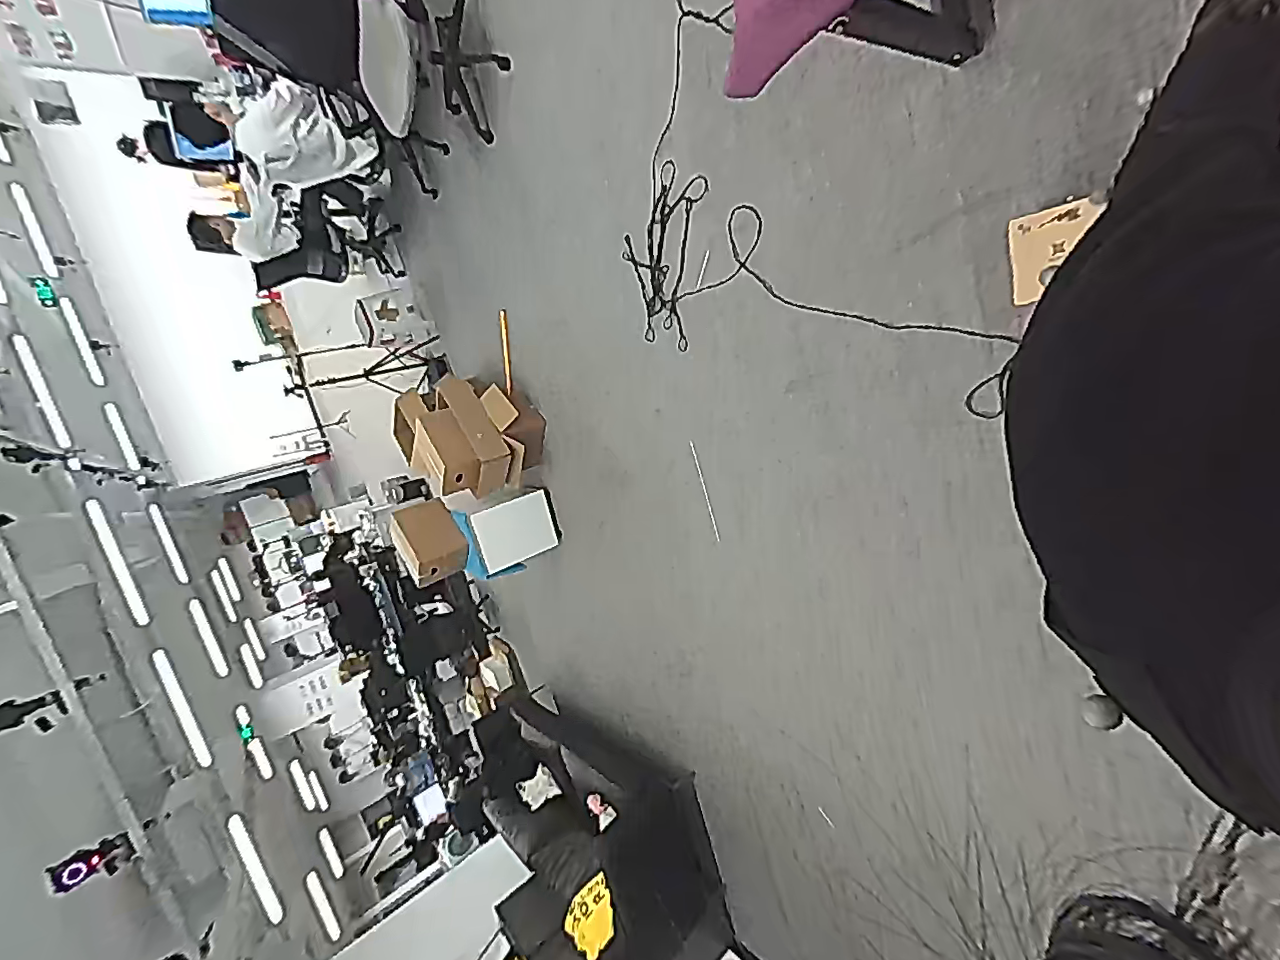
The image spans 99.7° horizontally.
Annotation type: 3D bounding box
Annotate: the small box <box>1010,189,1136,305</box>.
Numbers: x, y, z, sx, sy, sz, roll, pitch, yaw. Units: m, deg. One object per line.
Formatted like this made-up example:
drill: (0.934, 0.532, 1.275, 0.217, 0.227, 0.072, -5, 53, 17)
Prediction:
small box: (0.892, -0.477, 1.112, 0.168, 0.176, 0.179, 3, 111, 53)
